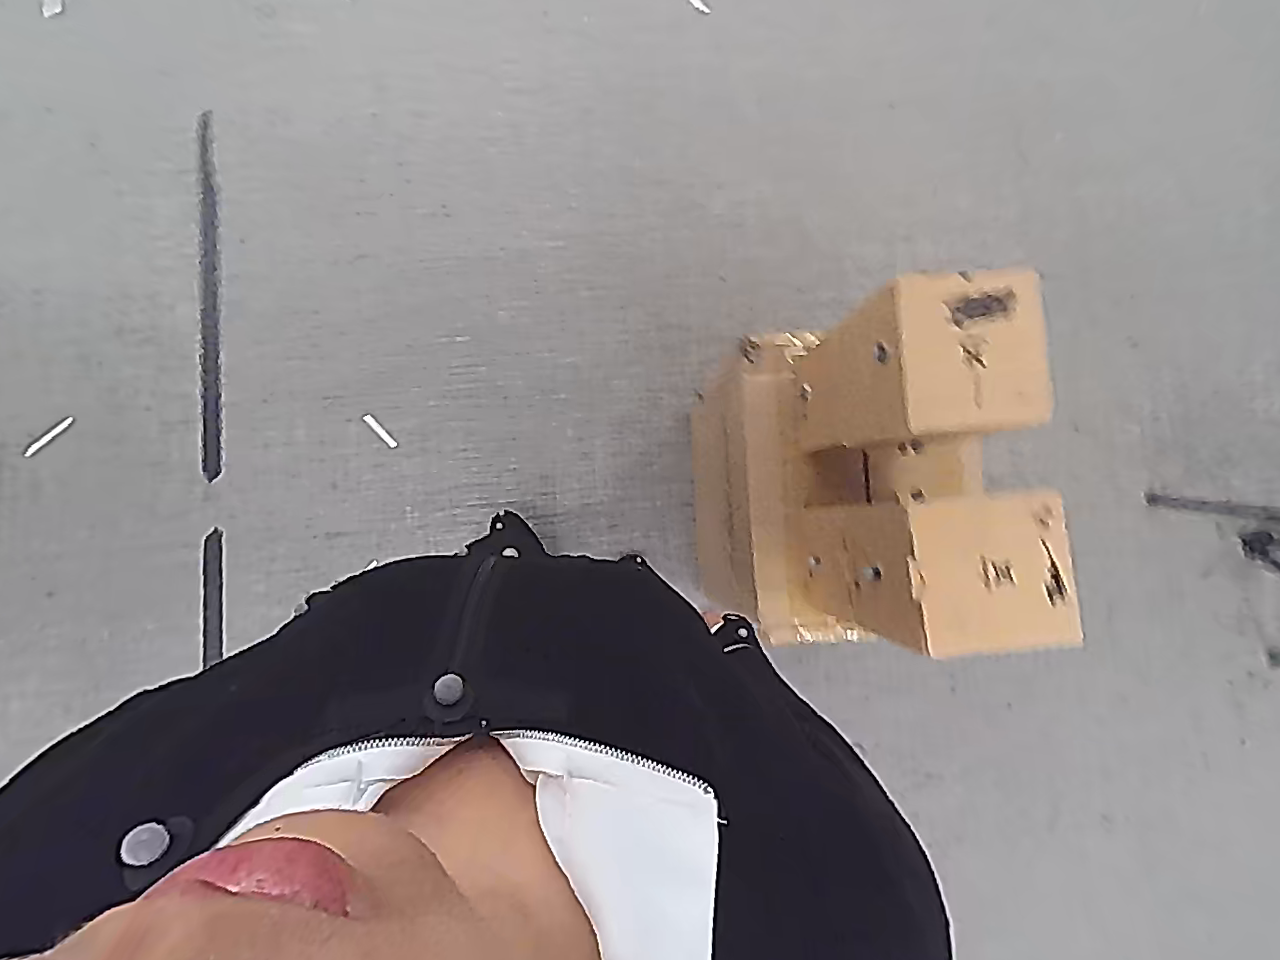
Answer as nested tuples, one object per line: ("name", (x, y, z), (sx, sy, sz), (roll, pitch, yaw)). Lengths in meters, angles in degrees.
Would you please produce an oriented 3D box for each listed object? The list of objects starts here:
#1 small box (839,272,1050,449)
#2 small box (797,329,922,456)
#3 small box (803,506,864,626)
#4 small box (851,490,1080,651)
("small box", (0.364, -0.139, 0.679), (0.168, 0.176, 0.179), (-3, 87, -2))
("small box", (0.360, -0.130, 0.843), (0.179, 0.176, 0.168), (-3, 86, -1))
("small box", (0.366, 0.122, 0.822), (0.179, 0.176, 0.168), (-3, 84, -2))
("small box", (0.373, 0.105, 0.659), (0.179, 0.176, 0.168), (-4, 84, -2))
